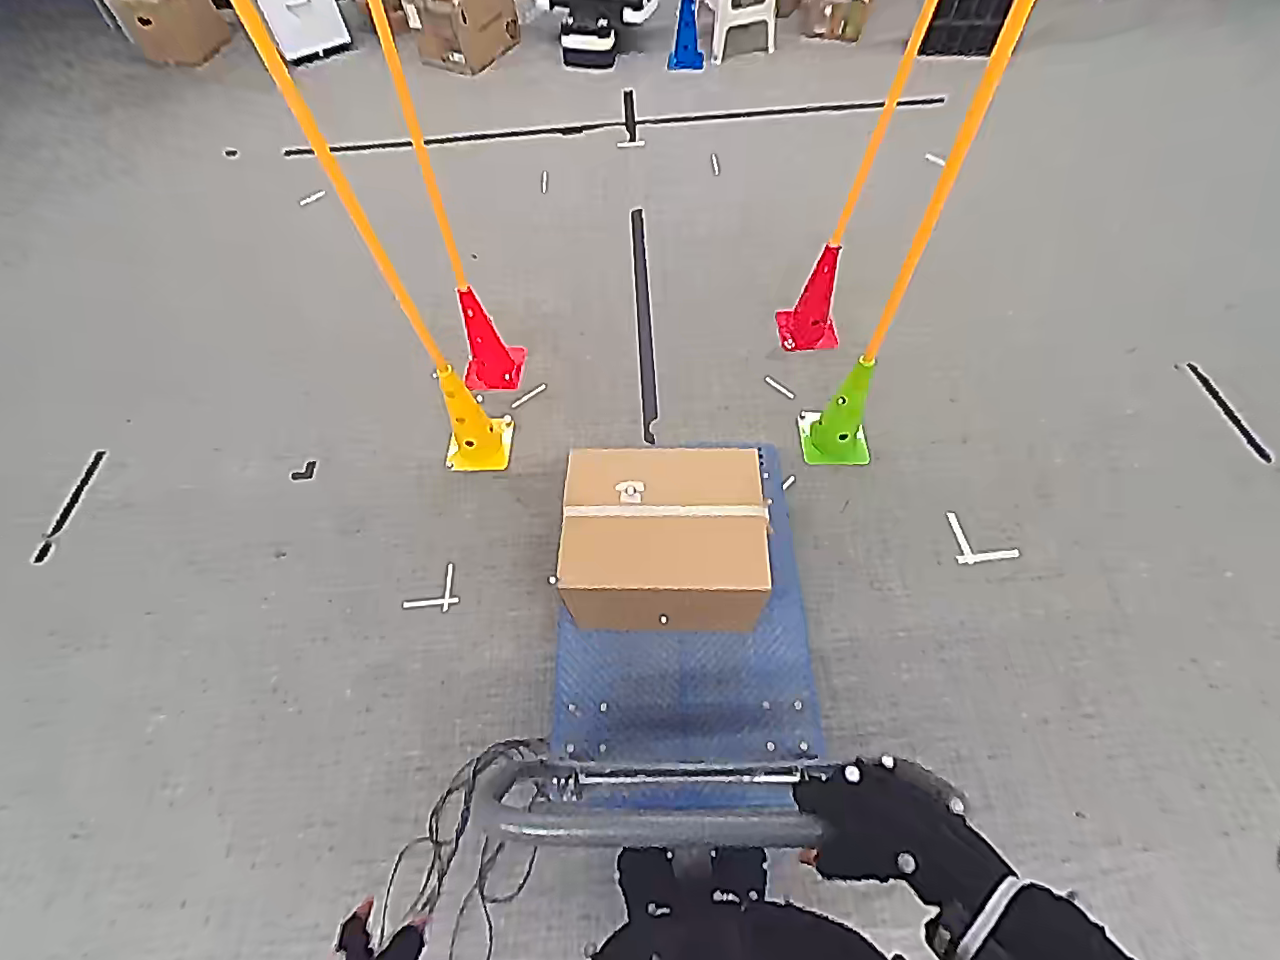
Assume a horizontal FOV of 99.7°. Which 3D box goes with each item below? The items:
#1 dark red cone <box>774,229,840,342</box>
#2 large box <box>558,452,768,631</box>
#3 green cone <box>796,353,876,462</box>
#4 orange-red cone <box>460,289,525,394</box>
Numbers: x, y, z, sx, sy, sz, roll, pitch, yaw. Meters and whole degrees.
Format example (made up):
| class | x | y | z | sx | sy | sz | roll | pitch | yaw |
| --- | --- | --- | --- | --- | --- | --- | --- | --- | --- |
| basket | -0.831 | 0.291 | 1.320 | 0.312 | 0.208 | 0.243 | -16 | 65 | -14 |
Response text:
| class | x | y | z | sx | sy | sz | roll | pitch | yaw |
| --- | --- | --- | --- | --- | --- | --- | --- | --- | --- |
| dark red cone | 0.593 | -0.653 | 1.813 | 0.201 | 0.394 | 0.202 | -4 | 60 | -1 |
| large box | 0.053 | 0.152 | 1.216 | 0.408 | 0.320 | 0.320 | -1 | 60 | 4 |
| green cone | 0.604 | -0.227 | 1.580 | 0.202 | 0.368 | 0.200 | -1 | 59 | 1 |
| orange-red cone | -0.527 | -0.478 | 1.794 | 0.198 | 0.360 | 0.199 | 3 | 58 | 4 |
